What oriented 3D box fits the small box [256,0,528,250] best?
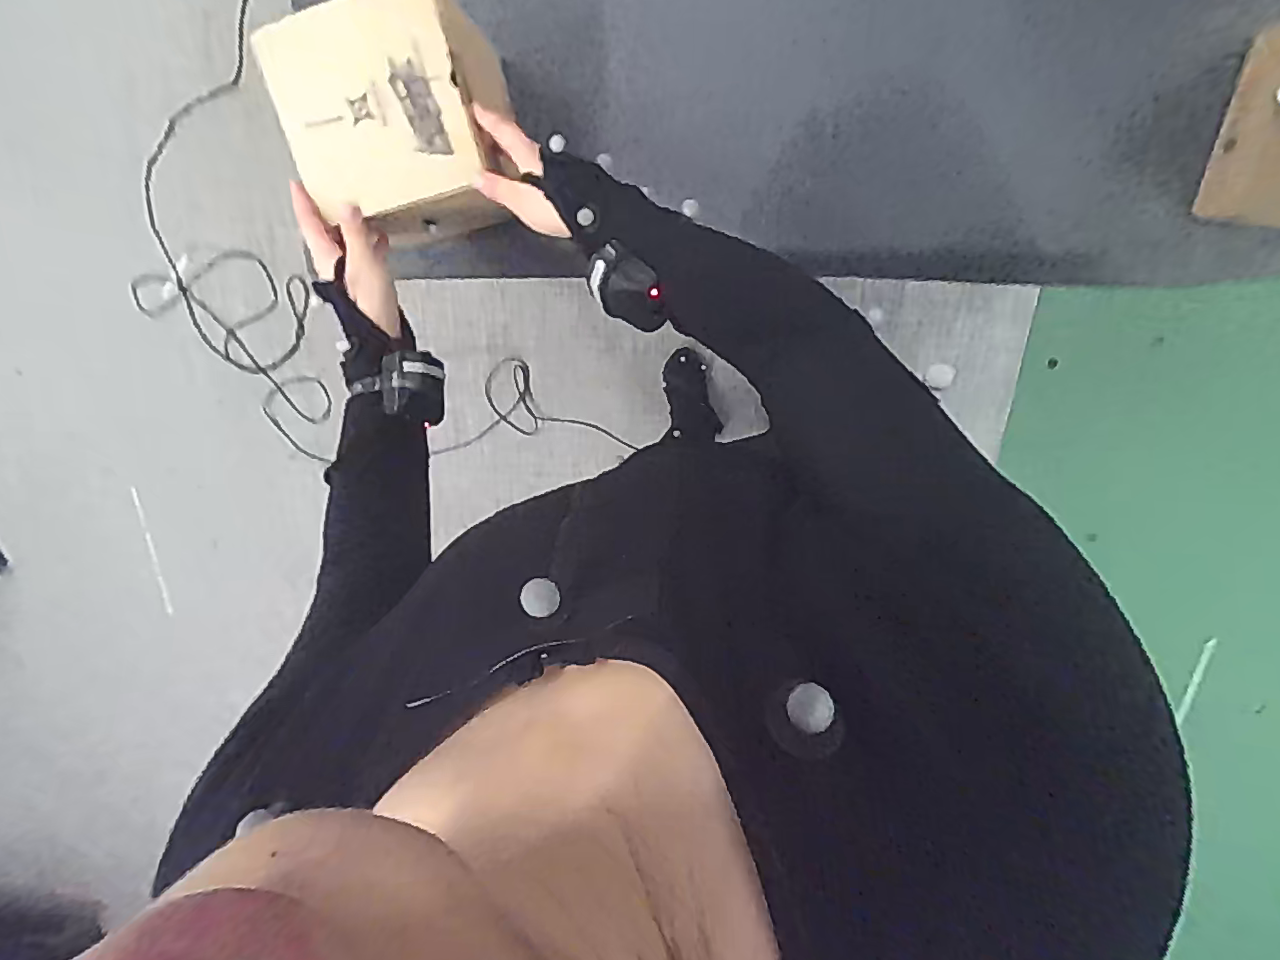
[{"bbox_3d":[-0.231,-0.349,0.561,0.179,0.176,0.168,-10,107,11],"label":"small box"}]

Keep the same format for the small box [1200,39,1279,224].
[{"bbox_3d":[0.658,-0.318,0.458,0.179,0.176,0.168,9,105,5],"label":"small box"}]
